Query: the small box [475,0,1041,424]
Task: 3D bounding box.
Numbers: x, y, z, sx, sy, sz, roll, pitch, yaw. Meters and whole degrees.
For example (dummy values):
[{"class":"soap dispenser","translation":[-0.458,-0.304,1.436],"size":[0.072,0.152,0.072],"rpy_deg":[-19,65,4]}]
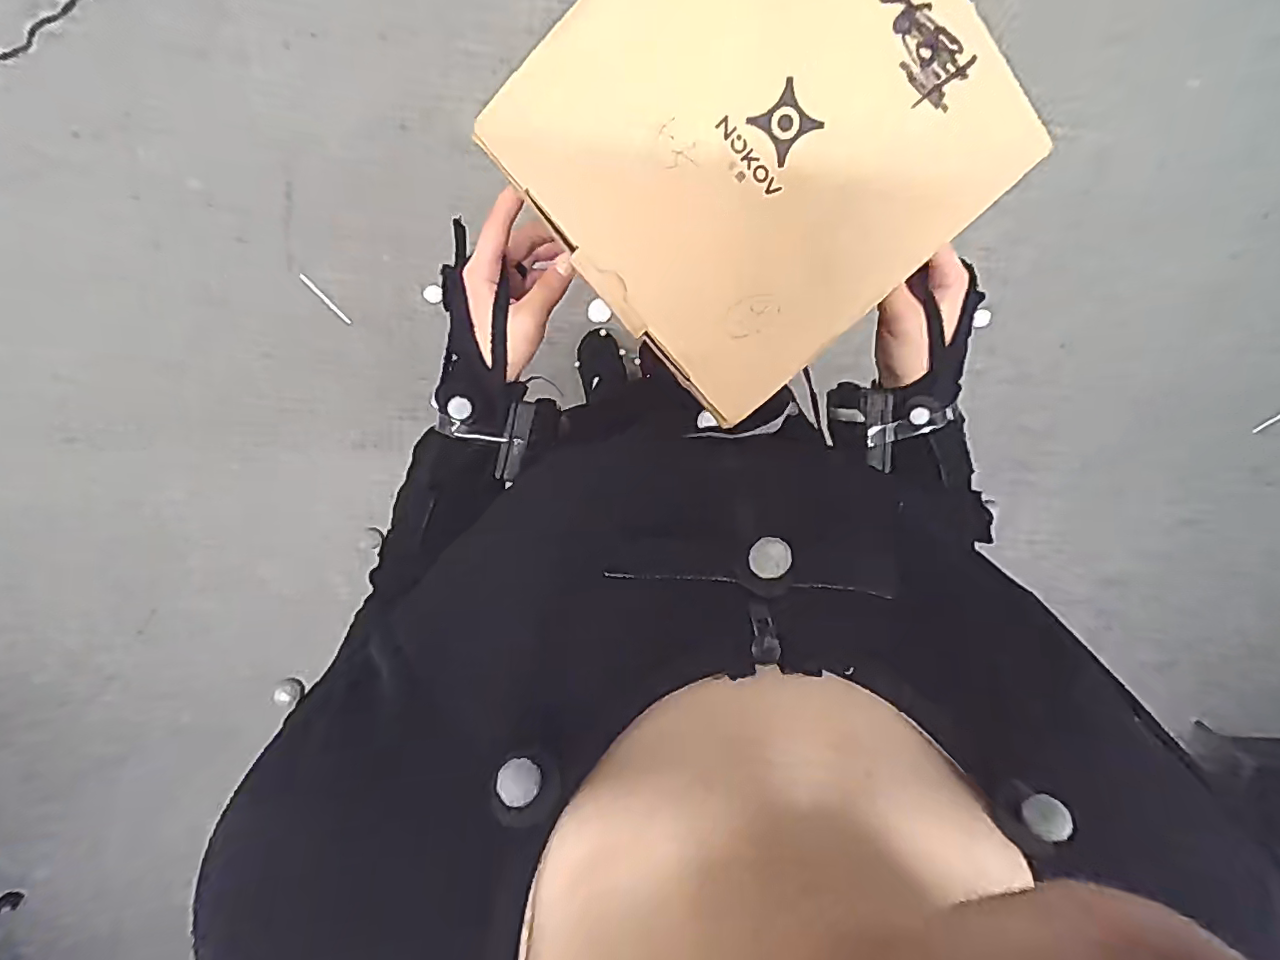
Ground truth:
[{"class":"small box","translation":[0.049,-0.159,0.296],"size":[0.179,0.176,0.168],"rpy_deg":[-40,103,11]}]
